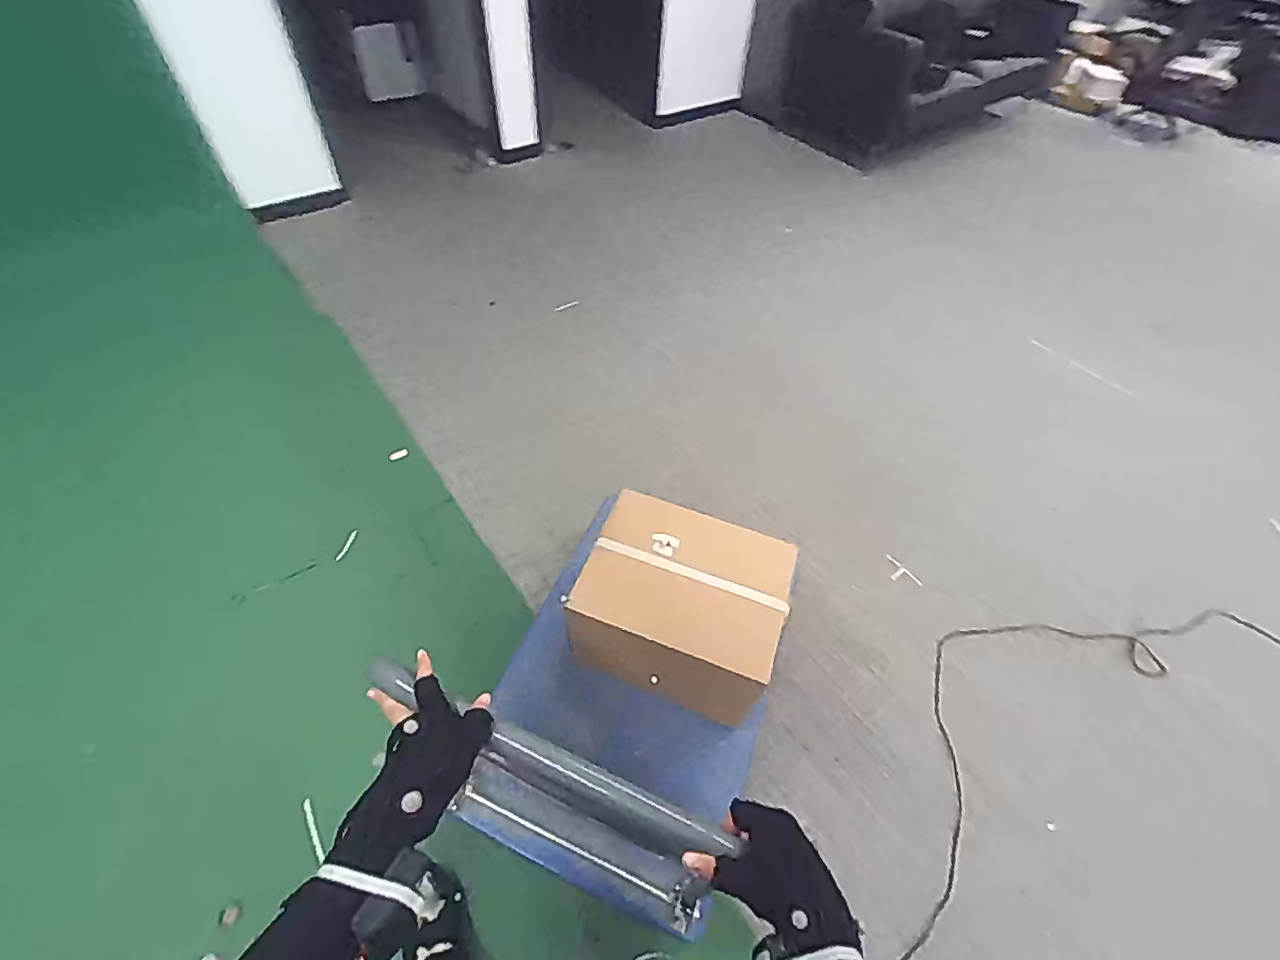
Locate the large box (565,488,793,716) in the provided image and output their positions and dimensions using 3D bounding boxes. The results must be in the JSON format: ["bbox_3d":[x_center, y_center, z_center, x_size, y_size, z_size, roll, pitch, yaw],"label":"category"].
[{"bbox_3d":[0.086,0.277,1.216,0.408,0.320,0.320,18,52,11],"label":"large box"}]
